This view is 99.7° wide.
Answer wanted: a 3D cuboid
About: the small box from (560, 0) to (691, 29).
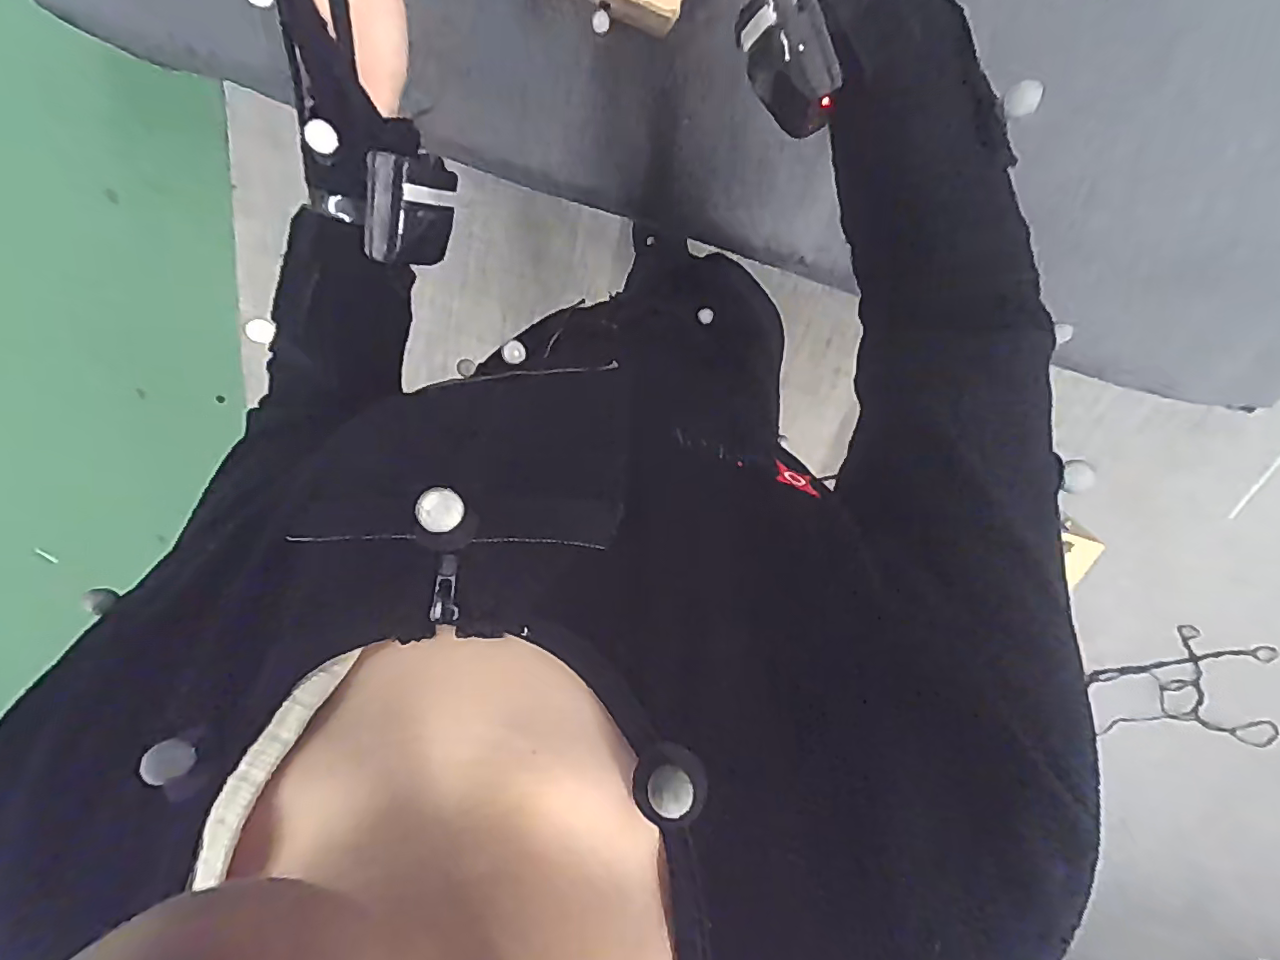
[{"bbox_3d":[-0.035,-0.375,0.290,0.179,0.176,0.168,14,124,-11],"label":"small box"}]
